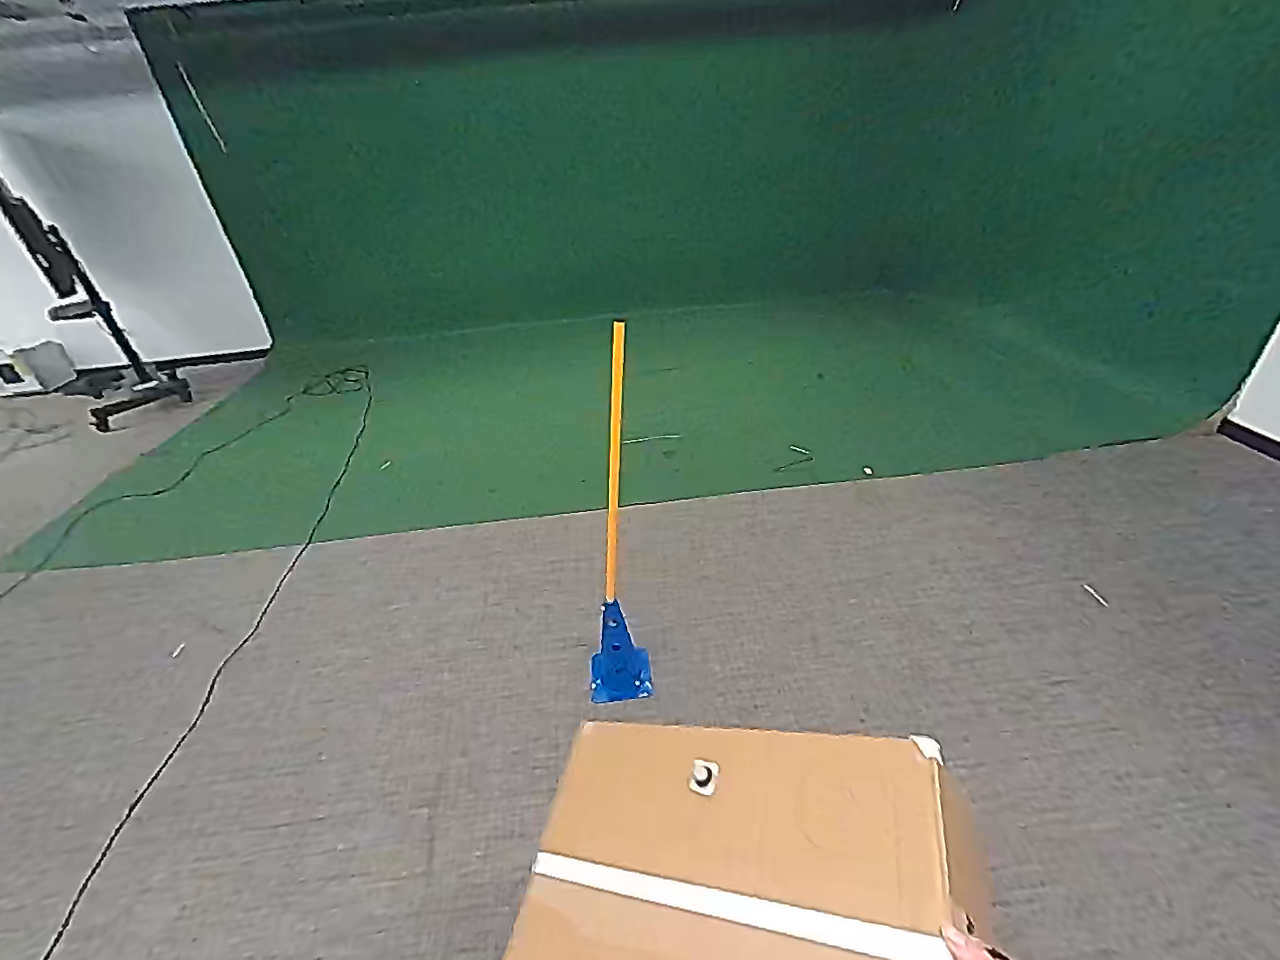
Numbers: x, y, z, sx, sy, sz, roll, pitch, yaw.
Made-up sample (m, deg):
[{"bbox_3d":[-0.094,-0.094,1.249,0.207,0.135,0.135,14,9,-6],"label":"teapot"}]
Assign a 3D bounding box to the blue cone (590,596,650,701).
[{"bbox_3d":[-0.079,0.514,1.734,0.193,0.380,0.192,-6,33,-5],"label":"blue cone"}]
